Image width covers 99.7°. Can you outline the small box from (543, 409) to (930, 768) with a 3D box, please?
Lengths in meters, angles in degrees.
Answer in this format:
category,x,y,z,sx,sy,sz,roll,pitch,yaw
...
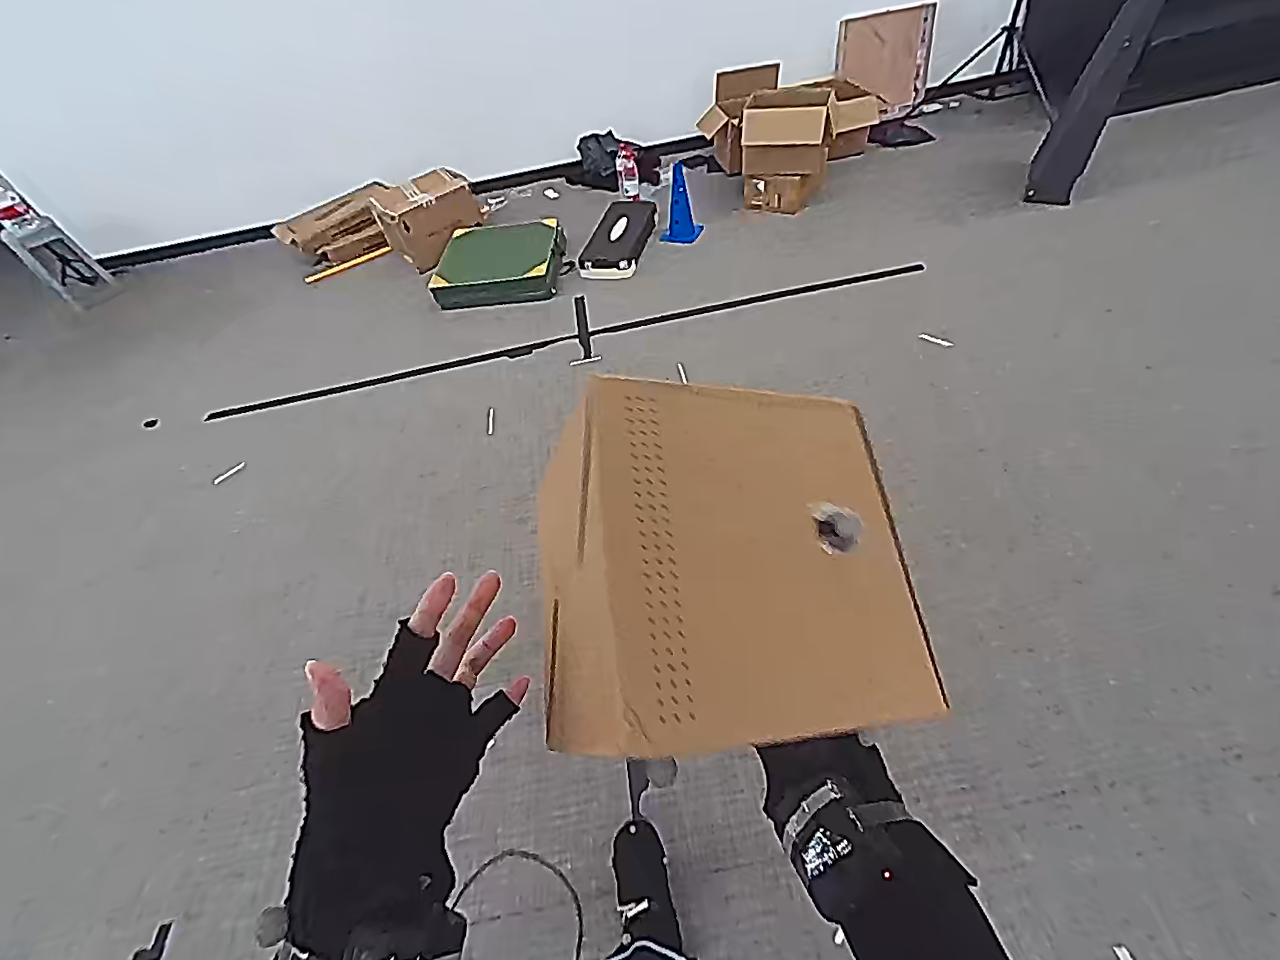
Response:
category,x,y,z,sx,sy,sz,roll,pitch,yaw
small box,0.034,0.069,0.342,0.176,0.168,0.179,2,67,-18
